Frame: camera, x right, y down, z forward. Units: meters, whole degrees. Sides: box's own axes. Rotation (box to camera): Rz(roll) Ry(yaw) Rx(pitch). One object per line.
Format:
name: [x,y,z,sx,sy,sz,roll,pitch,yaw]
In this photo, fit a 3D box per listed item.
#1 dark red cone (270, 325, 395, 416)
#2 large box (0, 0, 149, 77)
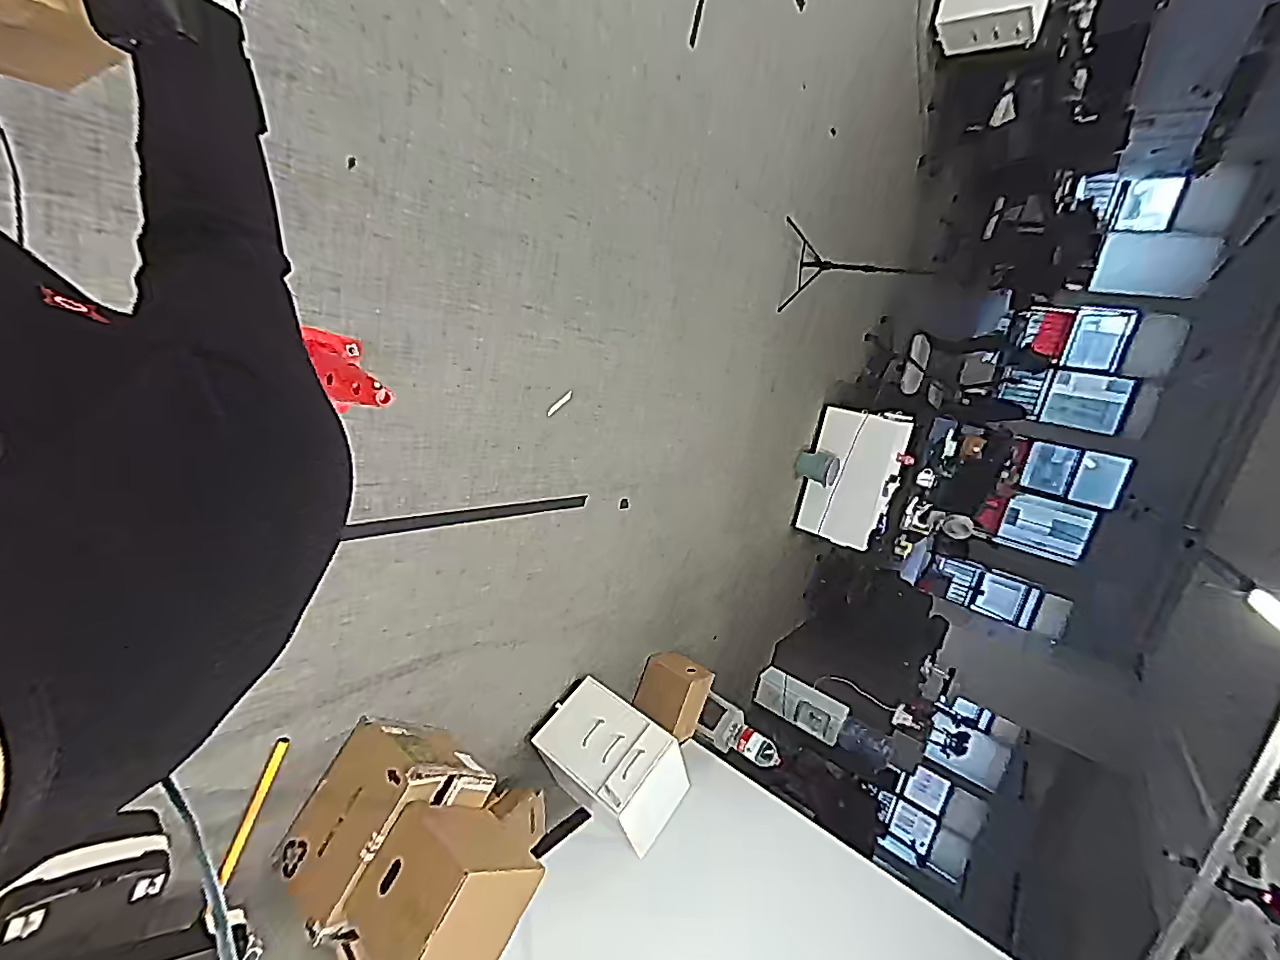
dark red cone: [-0.672,-0.216,1.243,0.201,0.394,0.202,5,103,-53]
large box: [-0.557,-0.463,0.254,0.408,0.320,0.320,-15,119,-52]
